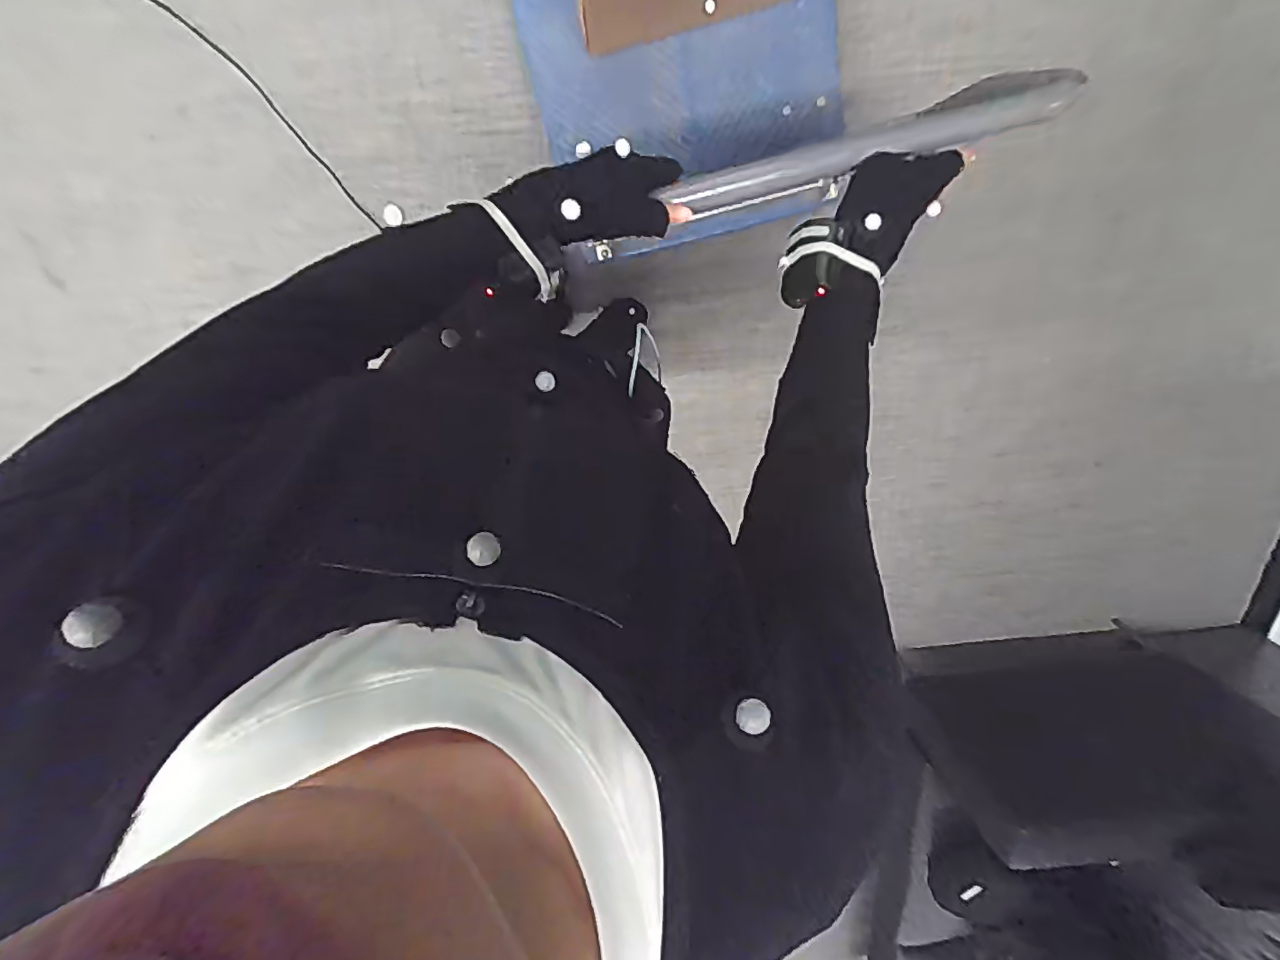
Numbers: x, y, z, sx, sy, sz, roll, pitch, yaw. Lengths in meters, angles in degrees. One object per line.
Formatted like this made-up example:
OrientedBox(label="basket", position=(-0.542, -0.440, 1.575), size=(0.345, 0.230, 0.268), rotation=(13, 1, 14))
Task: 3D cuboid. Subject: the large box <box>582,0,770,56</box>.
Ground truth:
OrientedBox(label="large box", position=(0.078, -0.913, 0.808), size=(0.408, 0.320, 0.320), rotation=(-15, 115, 4))
